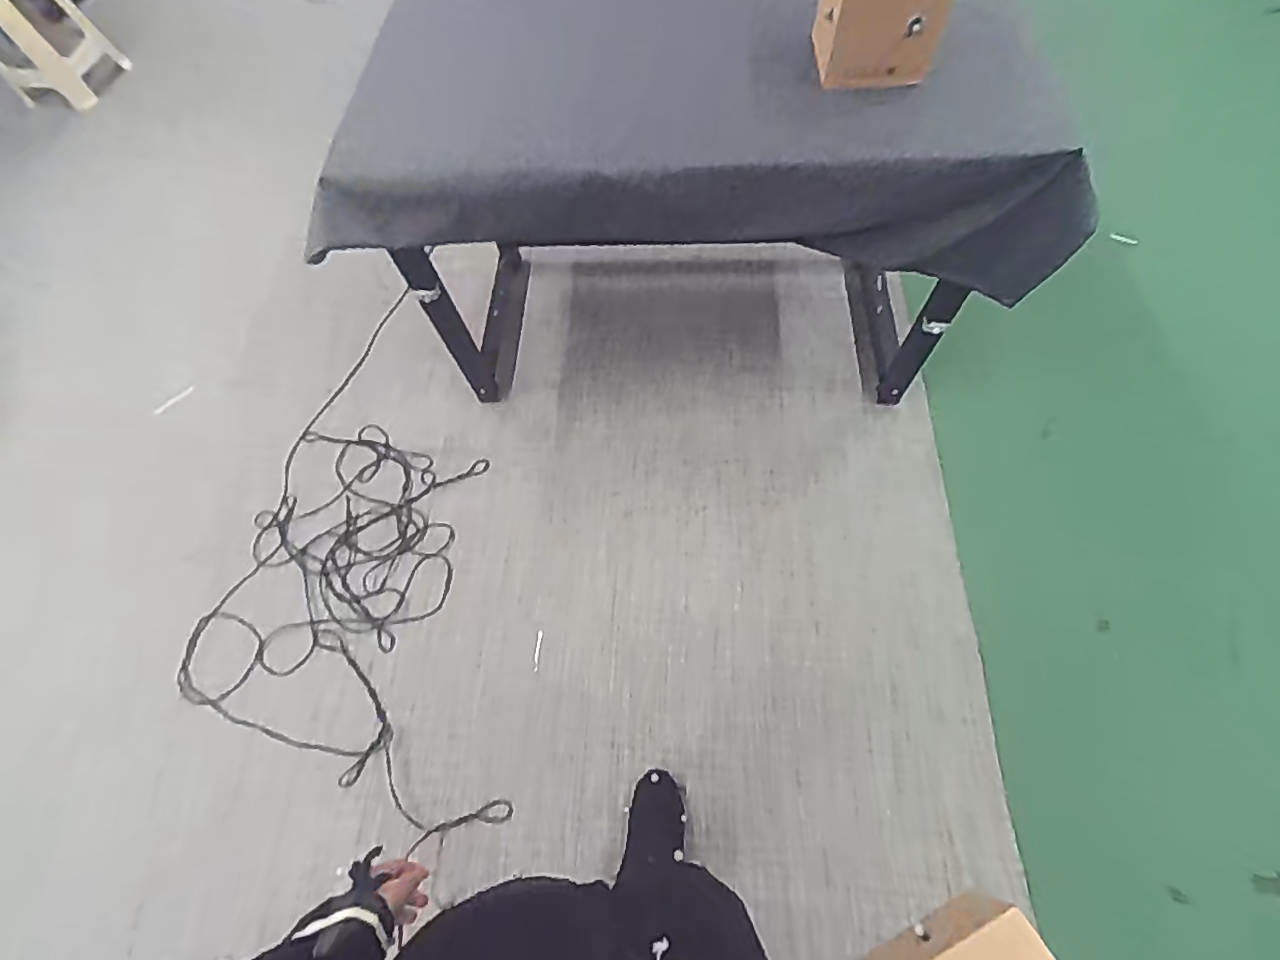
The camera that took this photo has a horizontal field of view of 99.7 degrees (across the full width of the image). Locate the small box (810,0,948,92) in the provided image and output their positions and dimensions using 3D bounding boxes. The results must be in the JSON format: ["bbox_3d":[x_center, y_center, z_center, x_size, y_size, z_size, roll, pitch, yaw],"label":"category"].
[{"bbox_3d":[0.382,-0.760,0.874,0.168,0.176,0.179,0,64,3],"label":"small box"}]
